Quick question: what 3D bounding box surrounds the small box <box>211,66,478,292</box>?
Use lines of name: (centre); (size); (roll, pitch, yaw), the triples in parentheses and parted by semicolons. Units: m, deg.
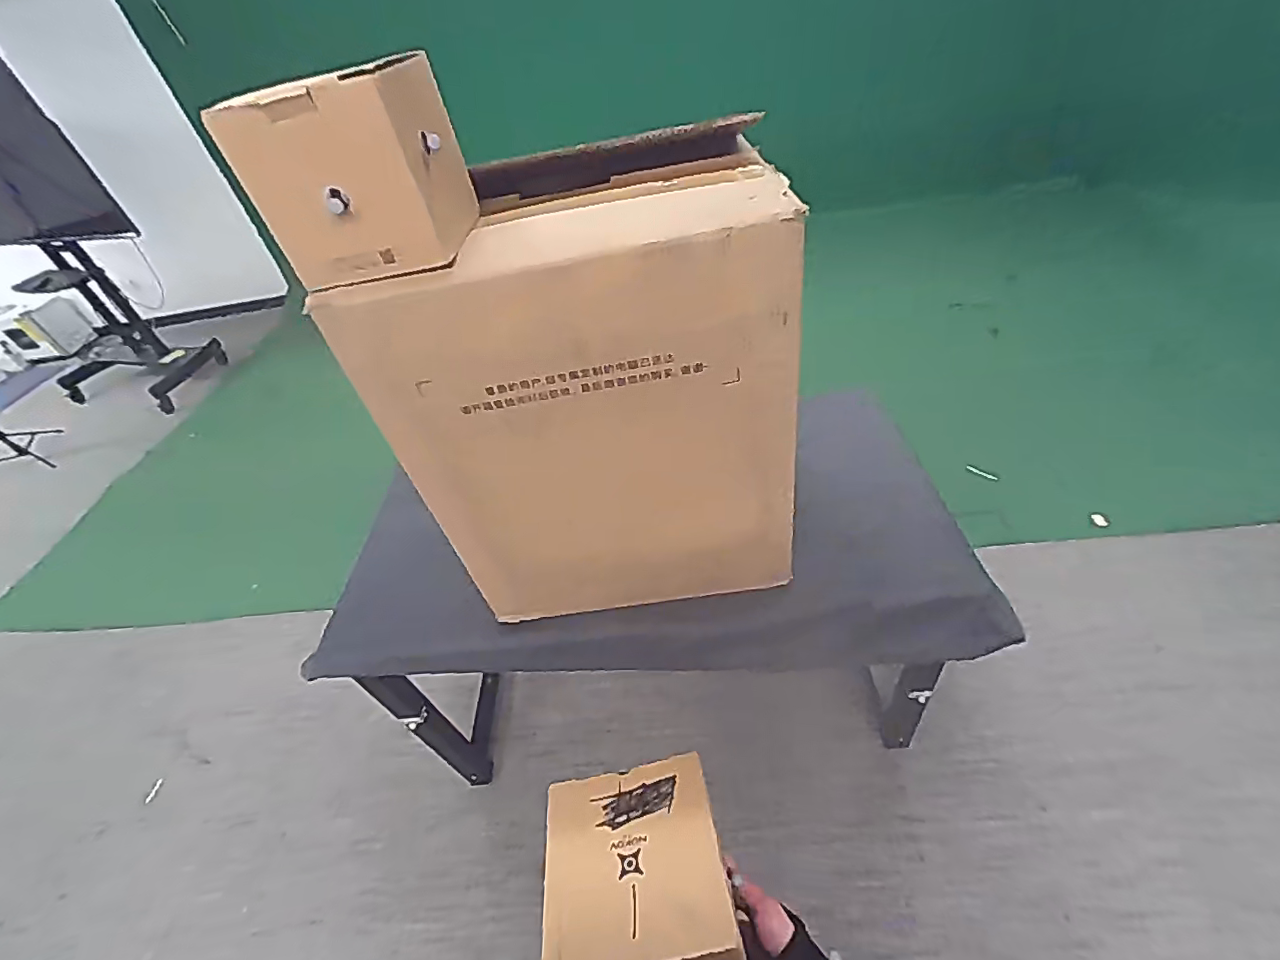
small box: (-0.294, -0.319, 0.589); (0.168, 0.176, 0.179); (-9, 43, 5)
